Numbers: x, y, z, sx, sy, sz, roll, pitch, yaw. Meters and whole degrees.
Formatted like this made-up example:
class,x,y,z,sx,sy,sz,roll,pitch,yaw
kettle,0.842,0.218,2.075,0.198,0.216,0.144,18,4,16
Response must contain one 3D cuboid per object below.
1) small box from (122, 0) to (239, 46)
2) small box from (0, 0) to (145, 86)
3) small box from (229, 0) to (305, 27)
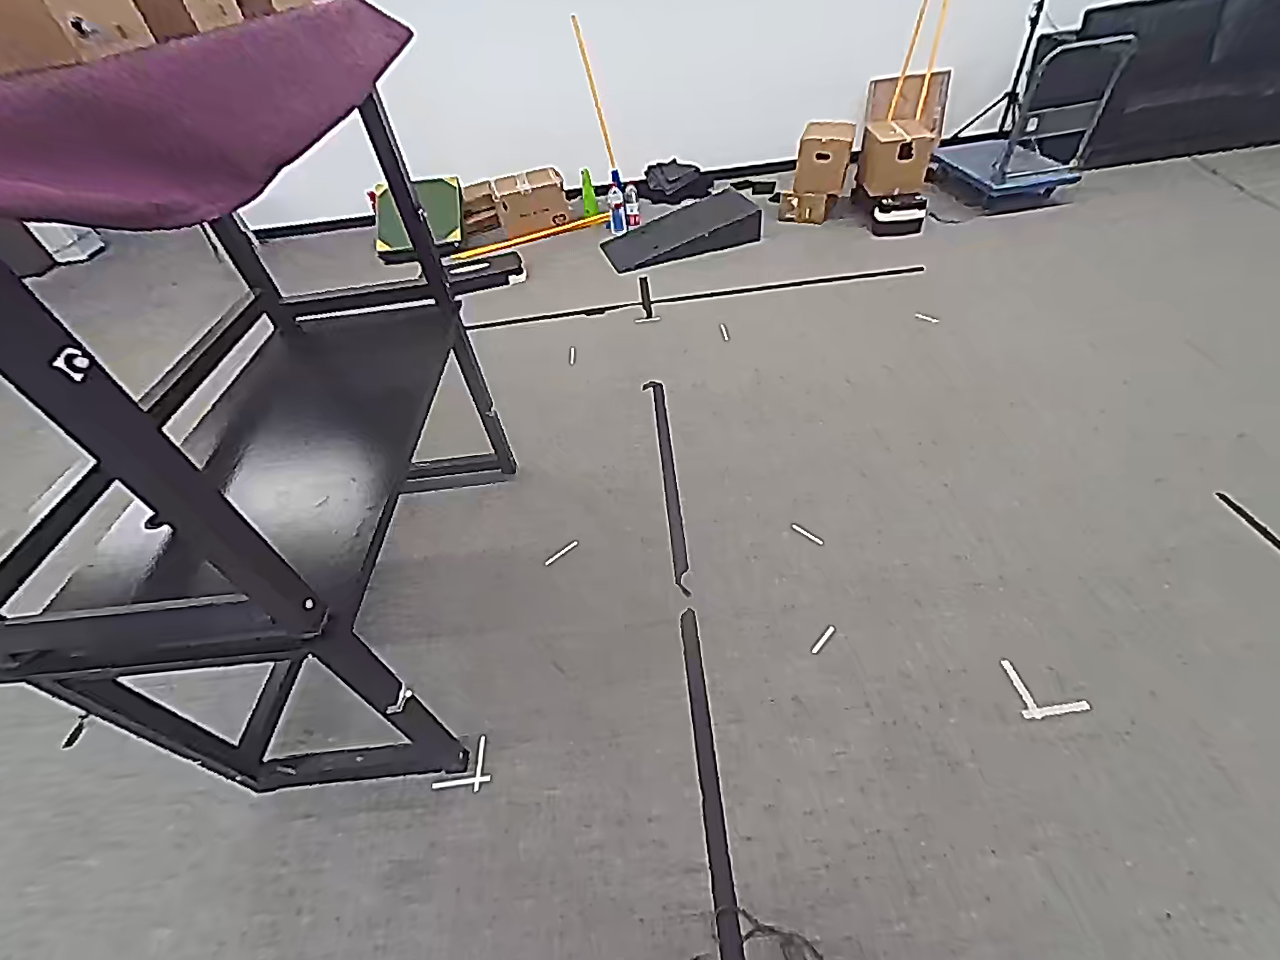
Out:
class,x,y,z,sx,sy,sz,roll,pitch,yaw
small box,-0.773,-0.773,0.821,0.179,0.176,0.168,-8,46,1
small box,-0.761,-0.588,0.638,0.179,0.176,0.168,-9,45,1
small box,-0.775,-0.973,1.019,0.168,0.176,0.179,-6,46,4
